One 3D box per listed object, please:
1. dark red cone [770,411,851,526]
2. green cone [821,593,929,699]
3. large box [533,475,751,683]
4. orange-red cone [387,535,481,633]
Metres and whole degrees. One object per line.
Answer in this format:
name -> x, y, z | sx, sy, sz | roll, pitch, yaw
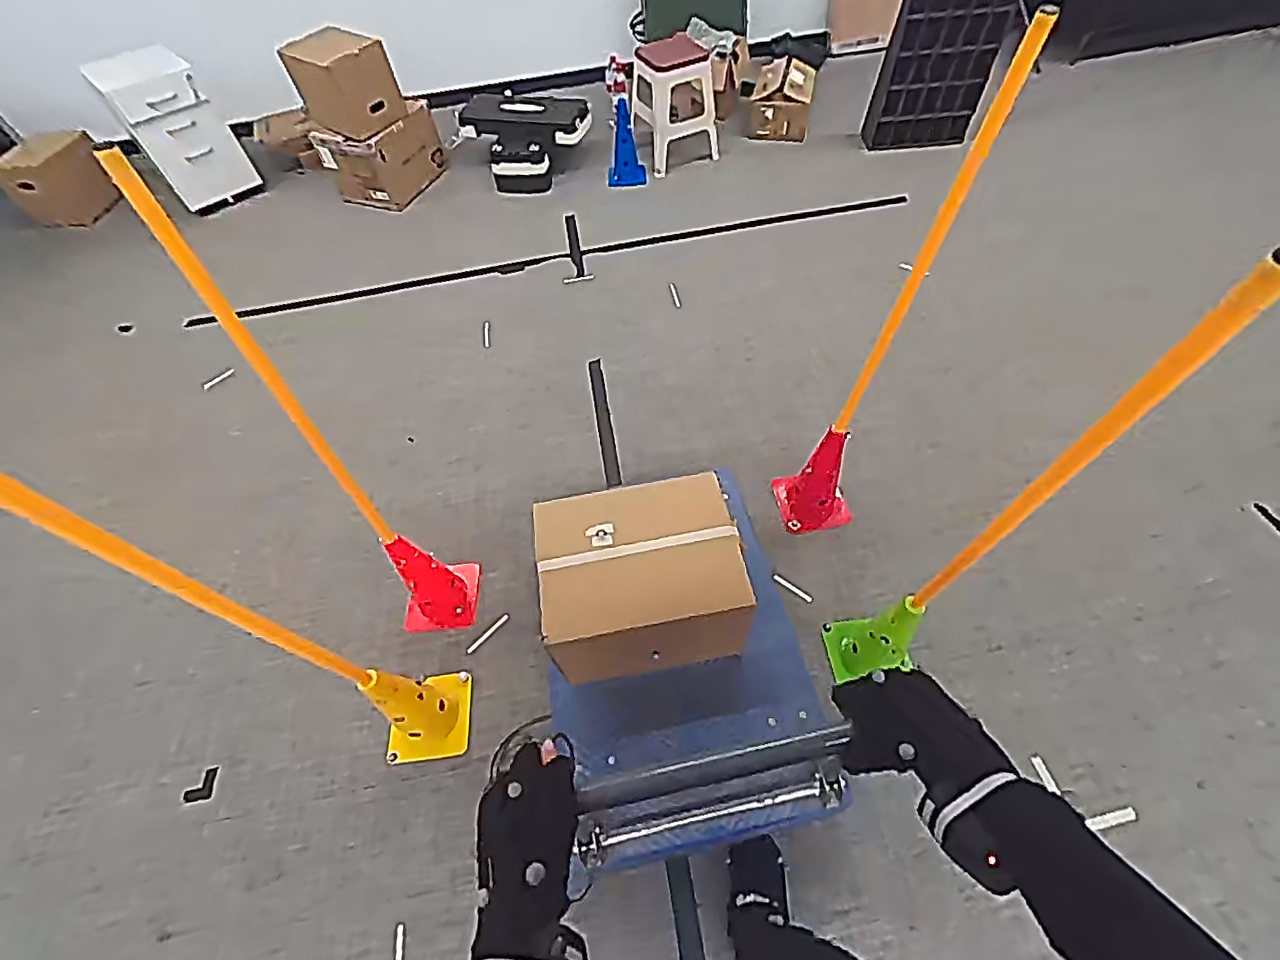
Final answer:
dark red cone -> 0.512, -0.045, 1.518 | 0.201, 0.394, 0.202 | -10, 55, -4
green cone -> 0.579, 0.357, 1.255 | 0.202, 0.368, 0.200 | -7, 55, -1
large box -> 0.003, 0.232, 1.217 | 0.408, 0.320, 0.320 | -11, 56, -2
orange-red cone -> -0.581, 0.248, 1.436 | 0.198, 0.360, 0.199 | -4, 54, 1
